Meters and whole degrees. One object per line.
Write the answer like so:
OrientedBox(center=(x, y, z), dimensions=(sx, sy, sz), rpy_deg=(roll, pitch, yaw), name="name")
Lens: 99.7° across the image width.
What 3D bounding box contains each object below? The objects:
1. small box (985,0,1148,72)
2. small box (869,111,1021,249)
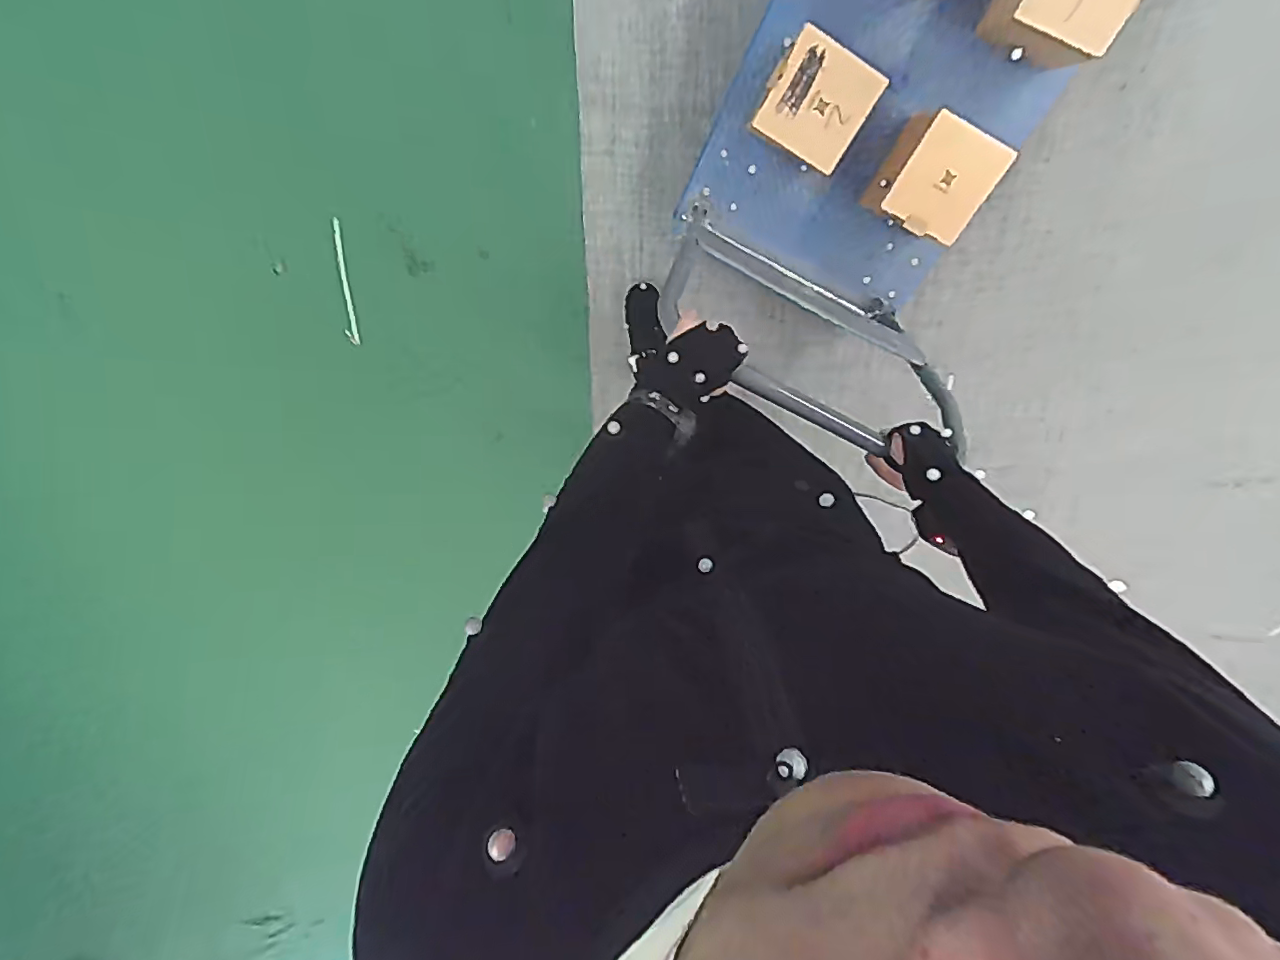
OrientedBox(center=(0.722, -0.817, 0.895), dimensions=(0.168, 0.176, 0.179), rpy_deg=(22, 123, -5), name="small box")
OrientedBox(center=(0.580, -0.587, 1.060), dimensions=(0.168, 0.176, 0.179), rpy_deg=(25, 122, -7), name="small box")
